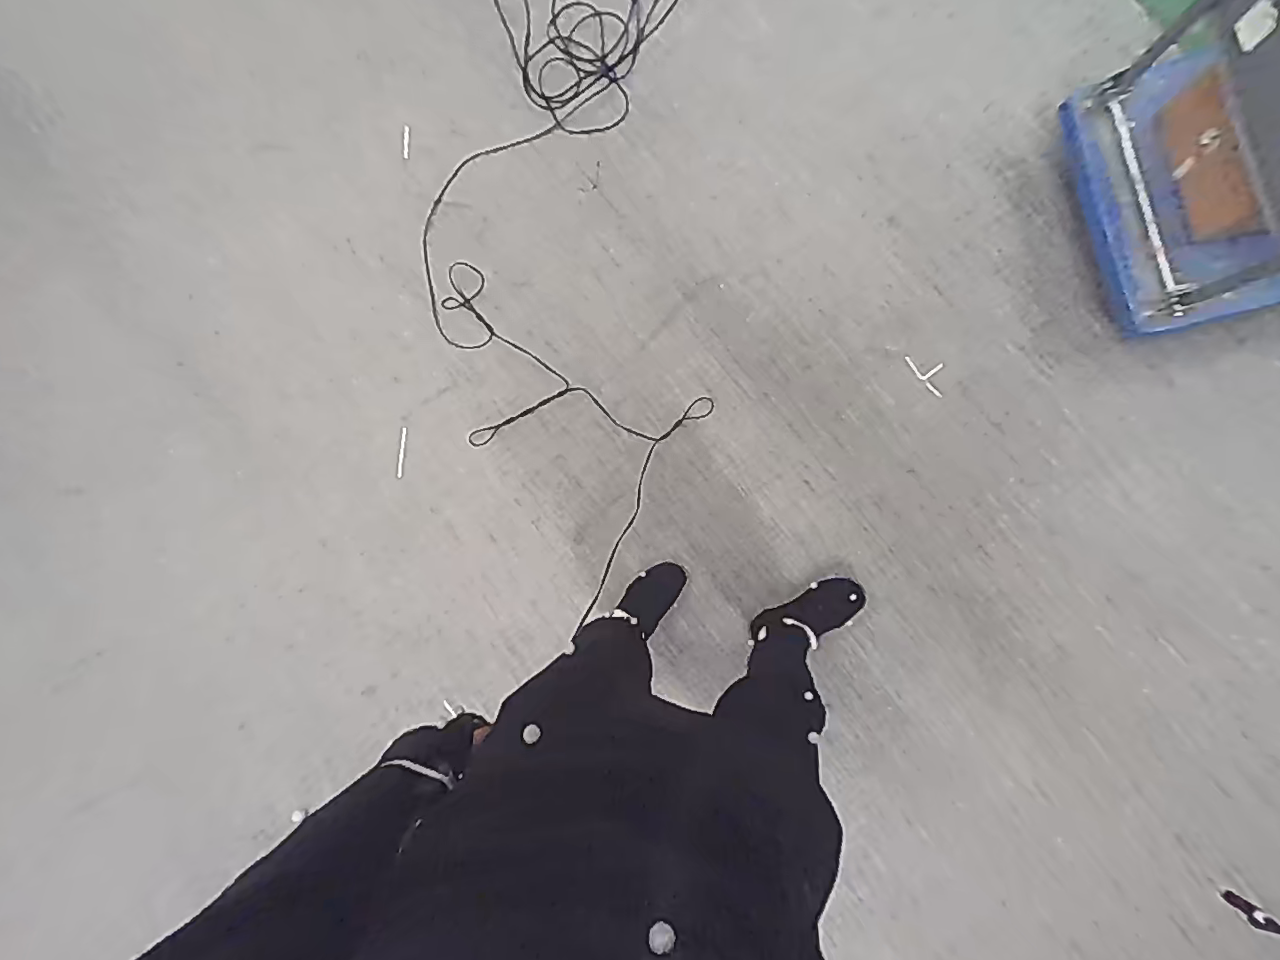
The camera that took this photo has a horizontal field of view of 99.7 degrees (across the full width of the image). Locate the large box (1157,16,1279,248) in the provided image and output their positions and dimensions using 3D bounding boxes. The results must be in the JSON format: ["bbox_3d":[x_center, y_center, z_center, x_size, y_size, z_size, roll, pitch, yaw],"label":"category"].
[{"bbox_3d":[1.322,-0.684,0.997,0.408,0.320,0.320,-11,87,5],"label":"large box"}]
